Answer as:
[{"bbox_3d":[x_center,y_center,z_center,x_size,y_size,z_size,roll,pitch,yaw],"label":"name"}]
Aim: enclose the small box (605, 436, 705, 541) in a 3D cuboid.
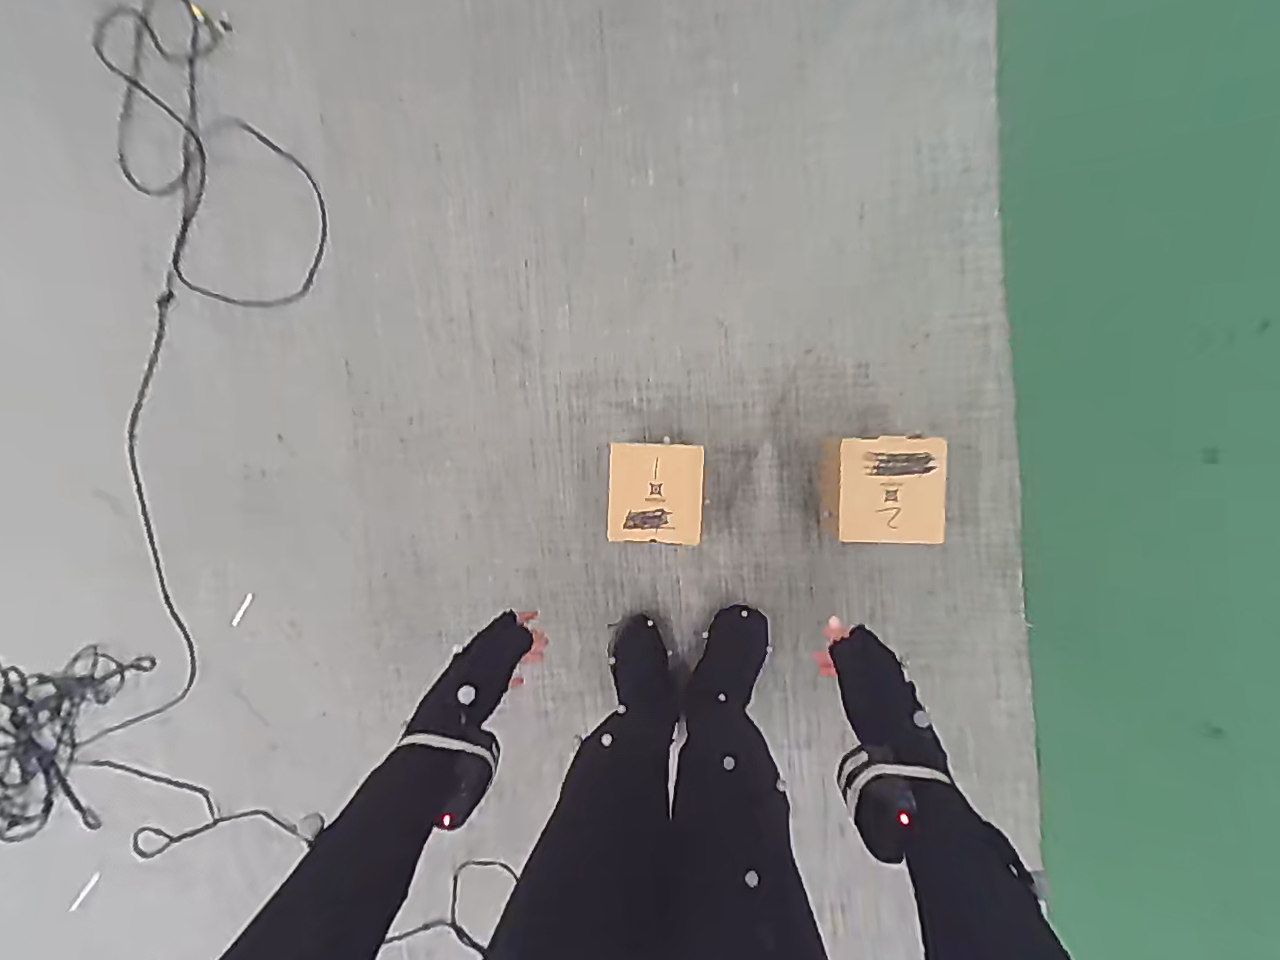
[{"bbox_3d":[0.034,0.010,1.011,0.168,0.176,0.179,3,93,8],"label":"small box"}]
